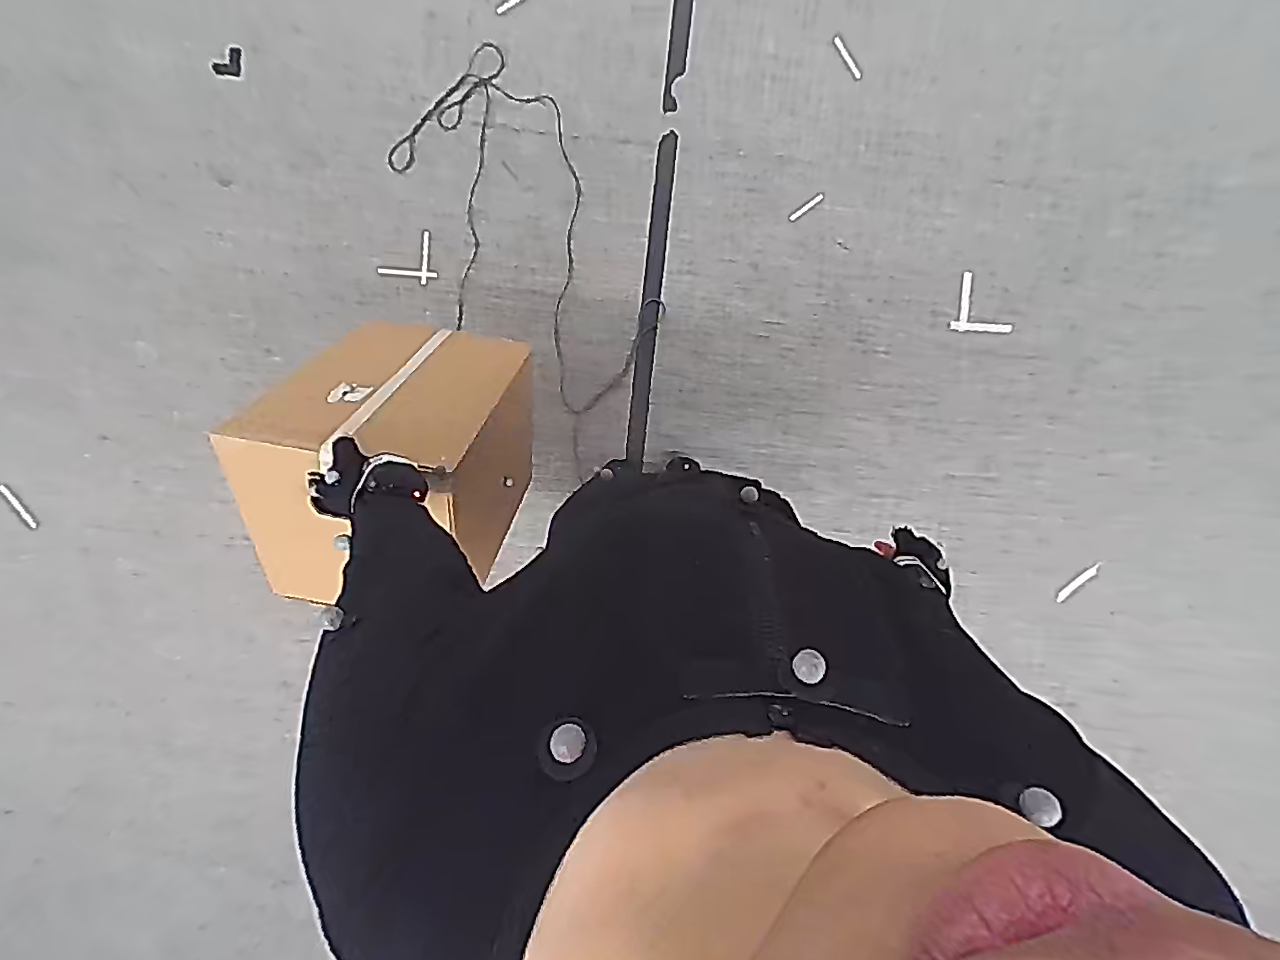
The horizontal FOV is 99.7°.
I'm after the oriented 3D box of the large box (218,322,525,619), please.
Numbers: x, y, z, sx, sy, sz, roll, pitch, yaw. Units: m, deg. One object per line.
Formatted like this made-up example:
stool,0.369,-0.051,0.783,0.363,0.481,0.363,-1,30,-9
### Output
large box,-0.400,-0.032,0.943,0.320,0.408,0.320,9,128,0
